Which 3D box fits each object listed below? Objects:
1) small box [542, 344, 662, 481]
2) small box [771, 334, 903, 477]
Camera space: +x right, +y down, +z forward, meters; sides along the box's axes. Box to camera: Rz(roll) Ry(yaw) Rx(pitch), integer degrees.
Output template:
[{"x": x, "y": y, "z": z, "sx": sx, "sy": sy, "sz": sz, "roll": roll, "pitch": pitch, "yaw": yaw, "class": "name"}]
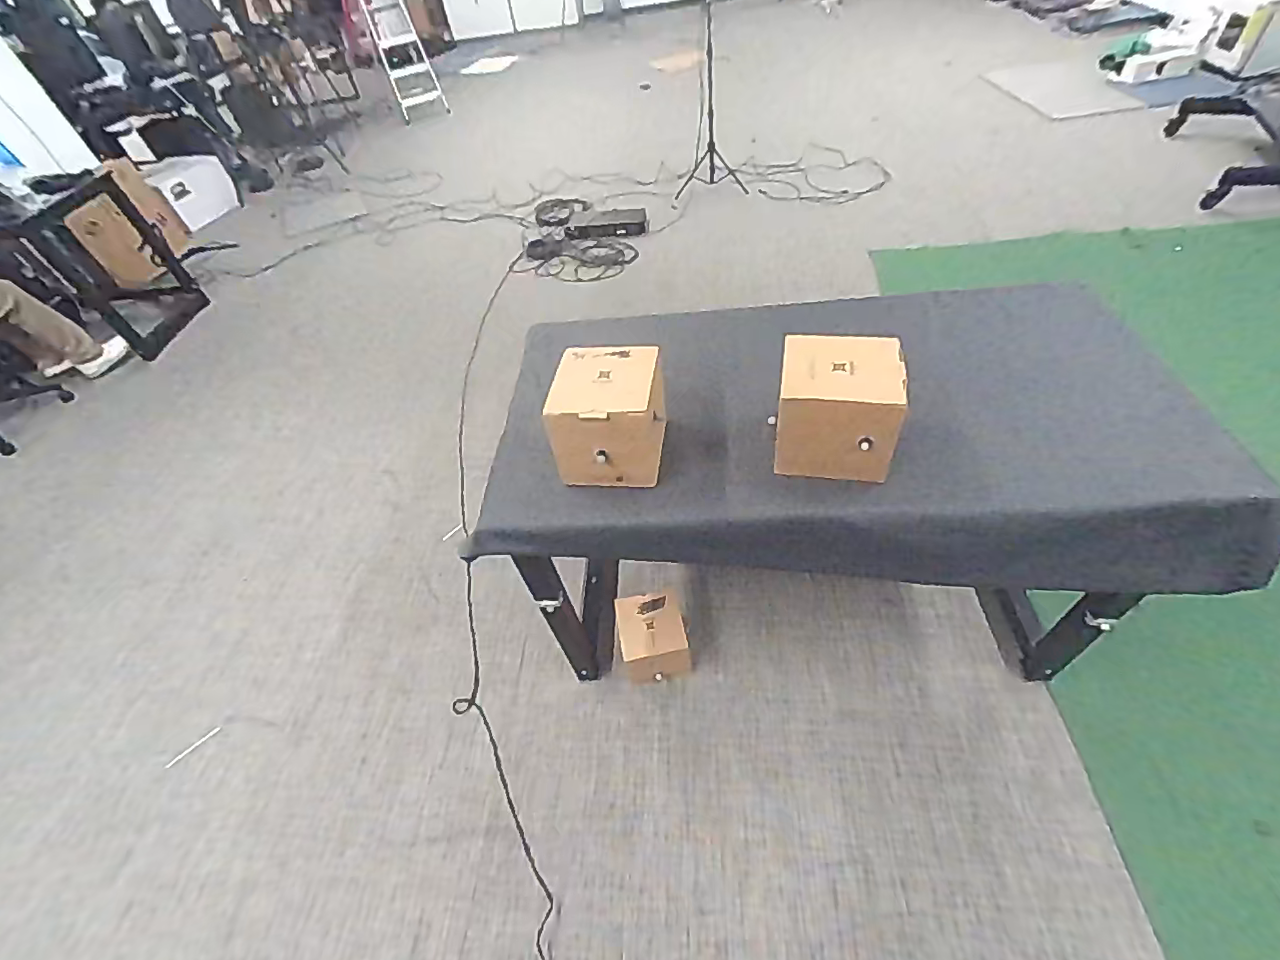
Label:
[{"x": -0.054, "y": -0.114, "z": 0.932, "sx": 0.168, "sy": 0.176, "sz": 0.179, "roll": 2, "pitch": 49, "yaw": 9, "class": "small box"}, {"x": 0.313, "y": -0.120, "z": 0.888, "sx": 0.179, "sy": 0.176, "sz": 0.168, "roll": 4, "pitch": 48, "yaw": 13, "class": "small box"}]
